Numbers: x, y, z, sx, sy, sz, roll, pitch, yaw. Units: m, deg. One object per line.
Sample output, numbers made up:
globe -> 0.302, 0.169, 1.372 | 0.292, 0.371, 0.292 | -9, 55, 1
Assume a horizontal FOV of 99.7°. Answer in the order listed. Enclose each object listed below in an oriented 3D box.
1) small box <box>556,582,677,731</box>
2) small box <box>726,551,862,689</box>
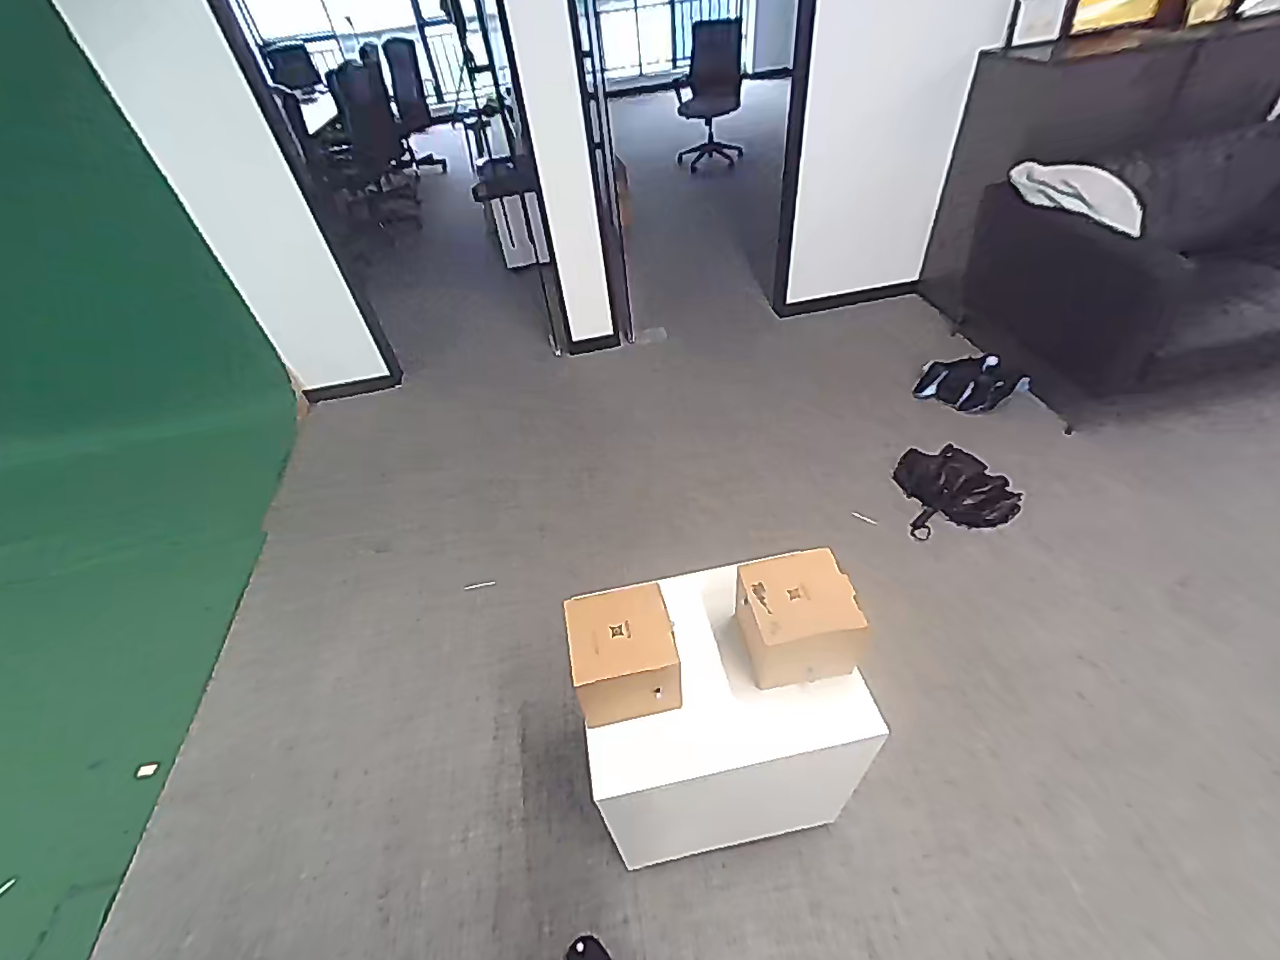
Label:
small box -> -0.041, 0.308, 0.942 | 0.179, 0.176, 0.168 | -11, 43, -8
small box -> 0.265, 0.255, 0.978 | 0.179, 0.176, 0.168 | -9, 44, -6
